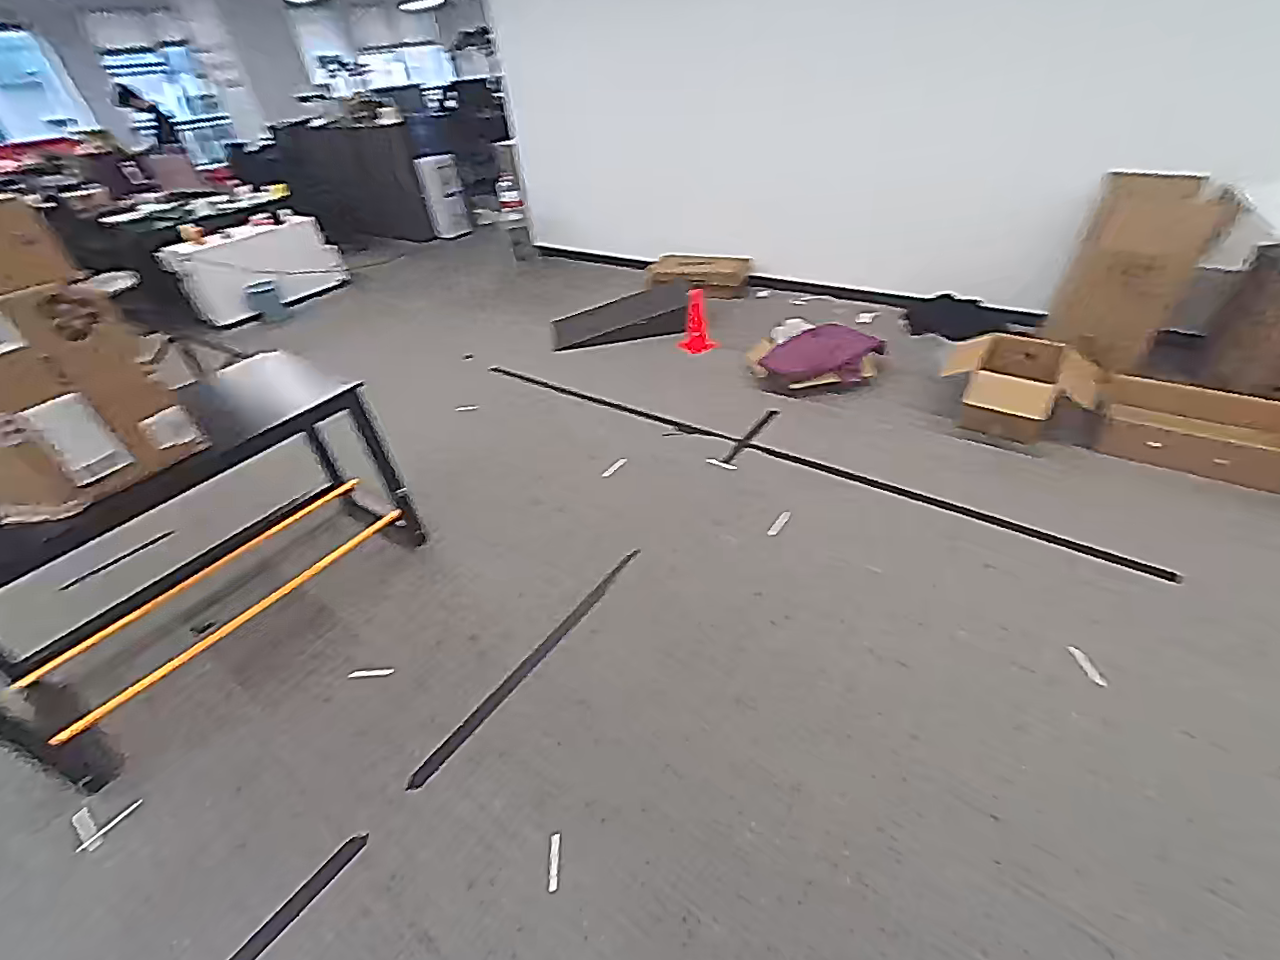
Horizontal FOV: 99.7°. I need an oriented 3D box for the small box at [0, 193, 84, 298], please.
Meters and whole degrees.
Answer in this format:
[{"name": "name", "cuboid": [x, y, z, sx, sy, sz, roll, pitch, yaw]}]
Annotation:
[{"name": "small box", "cuboid": [-1.388, -0.517, 1.187, 0.168, 0.176, 0.179, 19, 45, 29]}]
